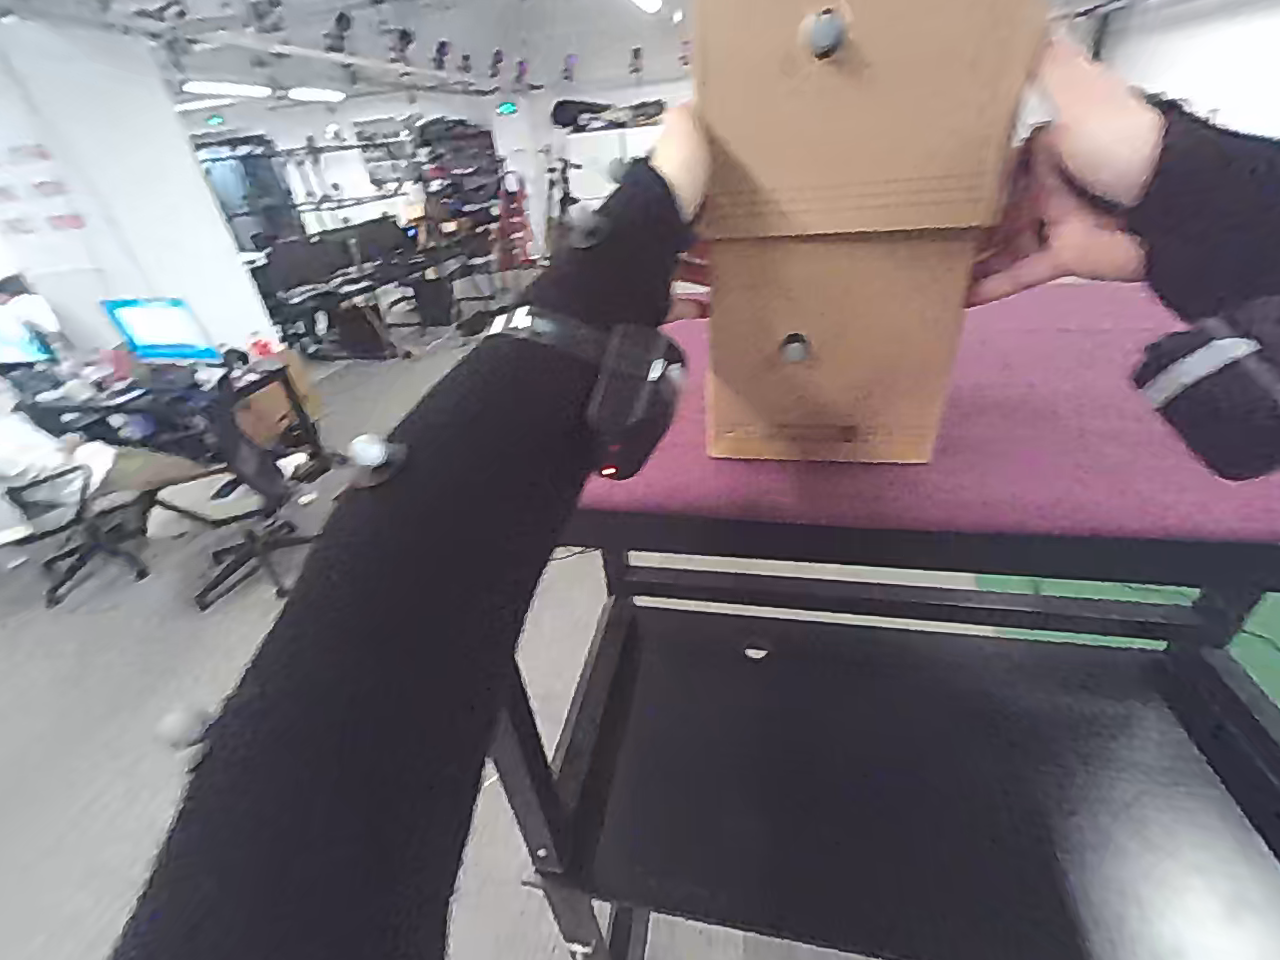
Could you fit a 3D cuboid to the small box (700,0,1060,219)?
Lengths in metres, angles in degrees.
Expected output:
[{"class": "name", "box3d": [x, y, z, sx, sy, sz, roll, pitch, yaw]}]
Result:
[{"class": "small box", "box3d": [0.135, -0.261, 0.331, 0.179, 0.176, 0.168, 6, 32, 17]}]

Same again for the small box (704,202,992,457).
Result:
[{"class": "small box", "box3d": [0.145, -0.129, 0.429, 0.168, 0.176, 0.179, 4, 31, 13]}]
